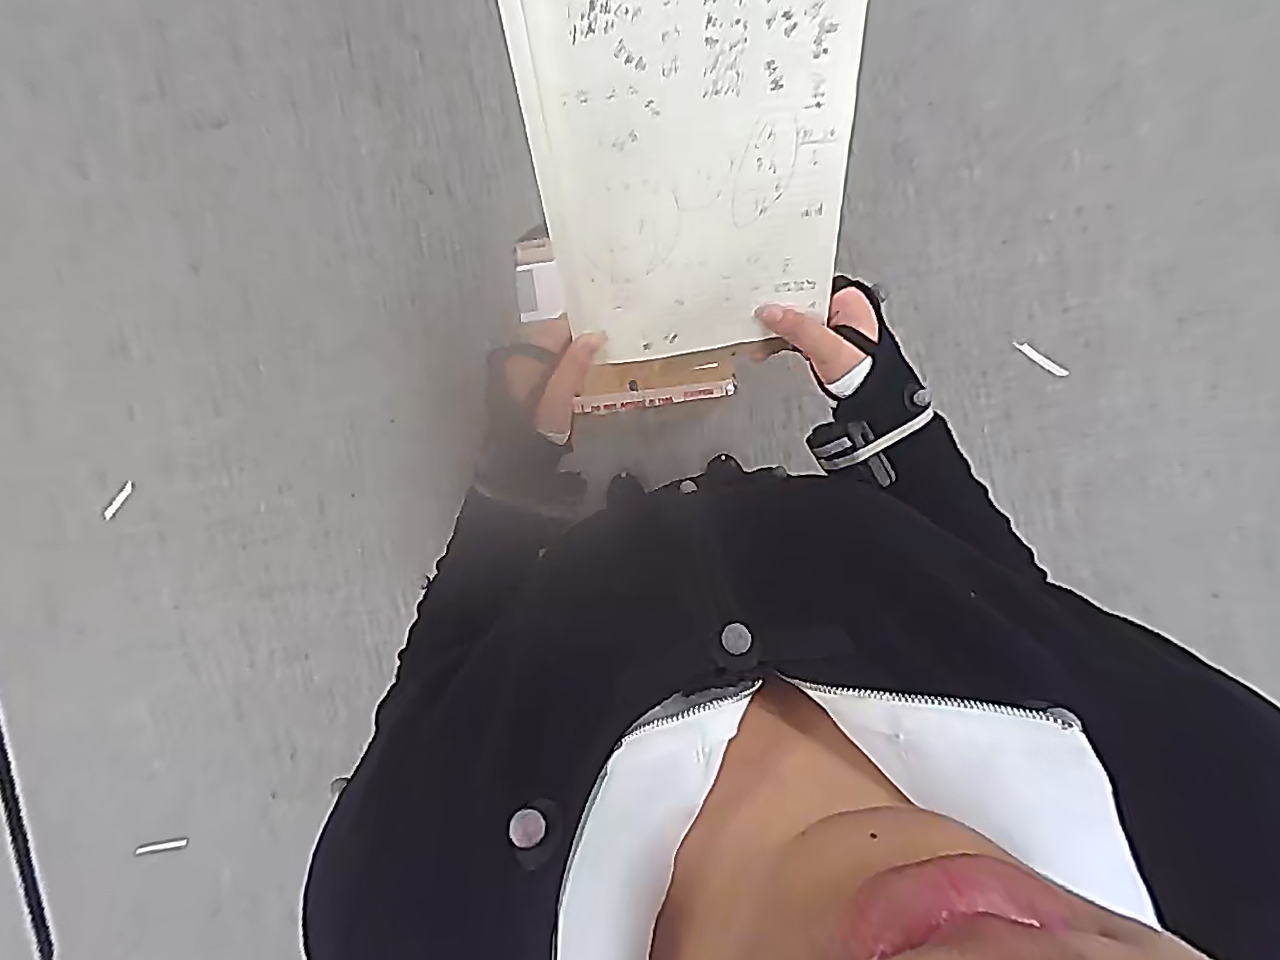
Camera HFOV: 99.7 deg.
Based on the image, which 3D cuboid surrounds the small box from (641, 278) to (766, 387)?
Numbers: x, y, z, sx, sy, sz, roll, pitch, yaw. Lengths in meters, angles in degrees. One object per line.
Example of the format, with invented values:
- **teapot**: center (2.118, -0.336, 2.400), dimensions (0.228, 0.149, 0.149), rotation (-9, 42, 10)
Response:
- **small box**: center (0.101, -0.268, 0.944), dimensions (0.179, 0.176, 0.168), rotation (-13, 92, 1)

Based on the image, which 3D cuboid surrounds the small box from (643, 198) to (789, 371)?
- **small box**: center (0.098, -0.269, 0.780), dimensions (0.168, 0.176, 0.179), rotation (-11, 92, 0)
